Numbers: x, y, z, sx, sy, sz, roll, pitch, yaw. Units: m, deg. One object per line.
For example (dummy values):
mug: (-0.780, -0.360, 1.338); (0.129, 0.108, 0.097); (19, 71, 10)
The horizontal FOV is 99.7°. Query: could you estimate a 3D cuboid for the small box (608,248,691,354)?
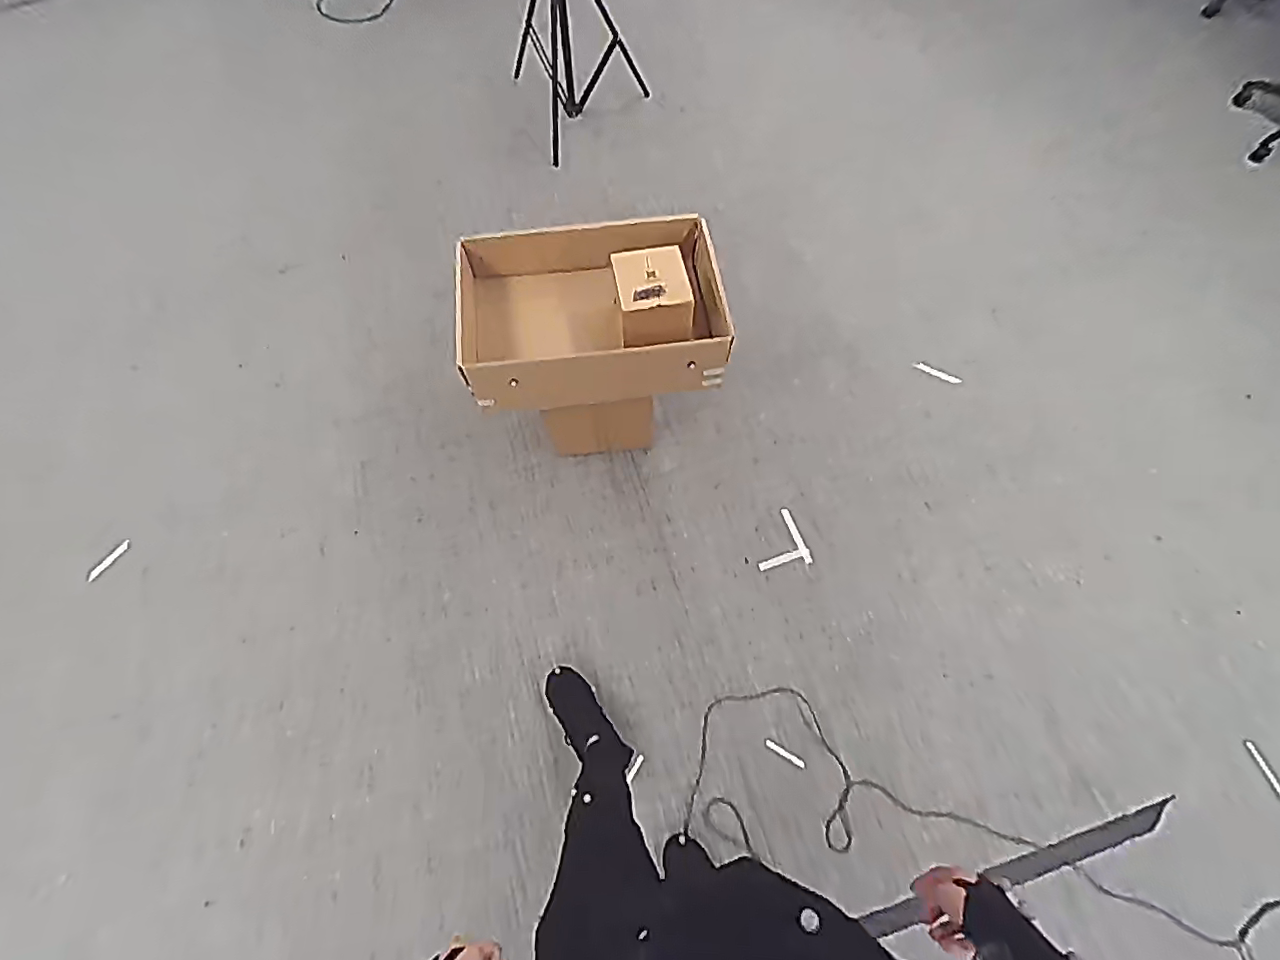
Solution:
small box: (0.020, -0.420, 1.298); (0.168, 0.176, 0.179); (-10, 65, -5)
